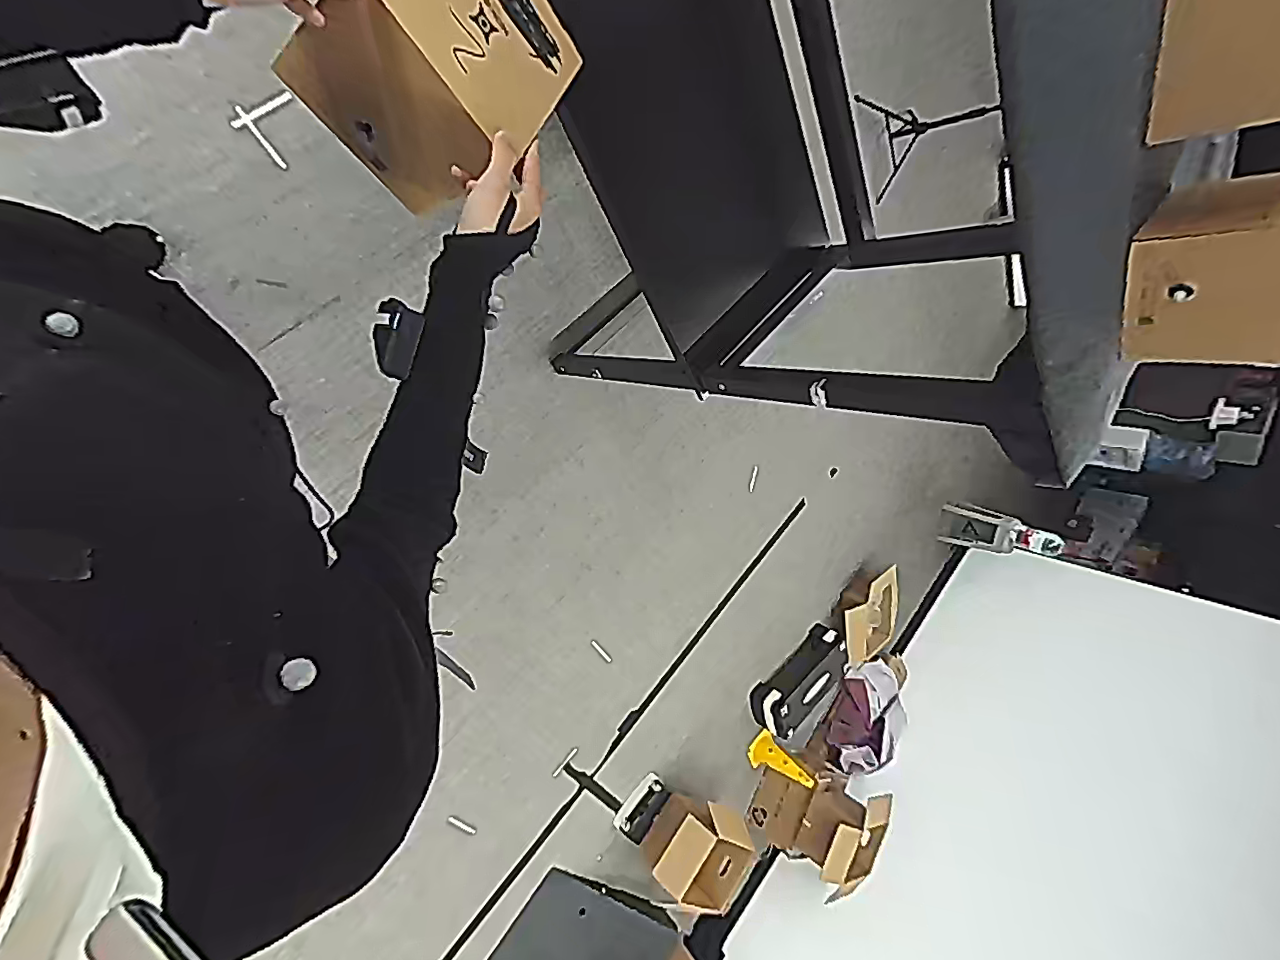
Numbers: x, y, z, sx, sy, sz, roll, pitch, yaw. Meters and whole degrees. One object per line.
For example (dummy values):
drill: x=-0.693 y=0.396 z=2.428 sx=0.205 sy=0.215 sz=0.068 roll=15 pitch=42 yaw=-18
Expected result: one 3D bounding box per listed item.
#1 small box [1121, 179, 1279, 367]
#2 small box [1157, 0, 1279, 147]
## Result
small box: x=0.739 y=-0.259 z=0.670 sx=0.179 sy=0.176 sz=0.168 roll=-41 pitch=124 yaw=-23
small box: x=0.667 y=-0.468 z=0.551 sx=0.168 sy=0.176 sz=0.179 roll=-31 pitch=121 yaw=-29
